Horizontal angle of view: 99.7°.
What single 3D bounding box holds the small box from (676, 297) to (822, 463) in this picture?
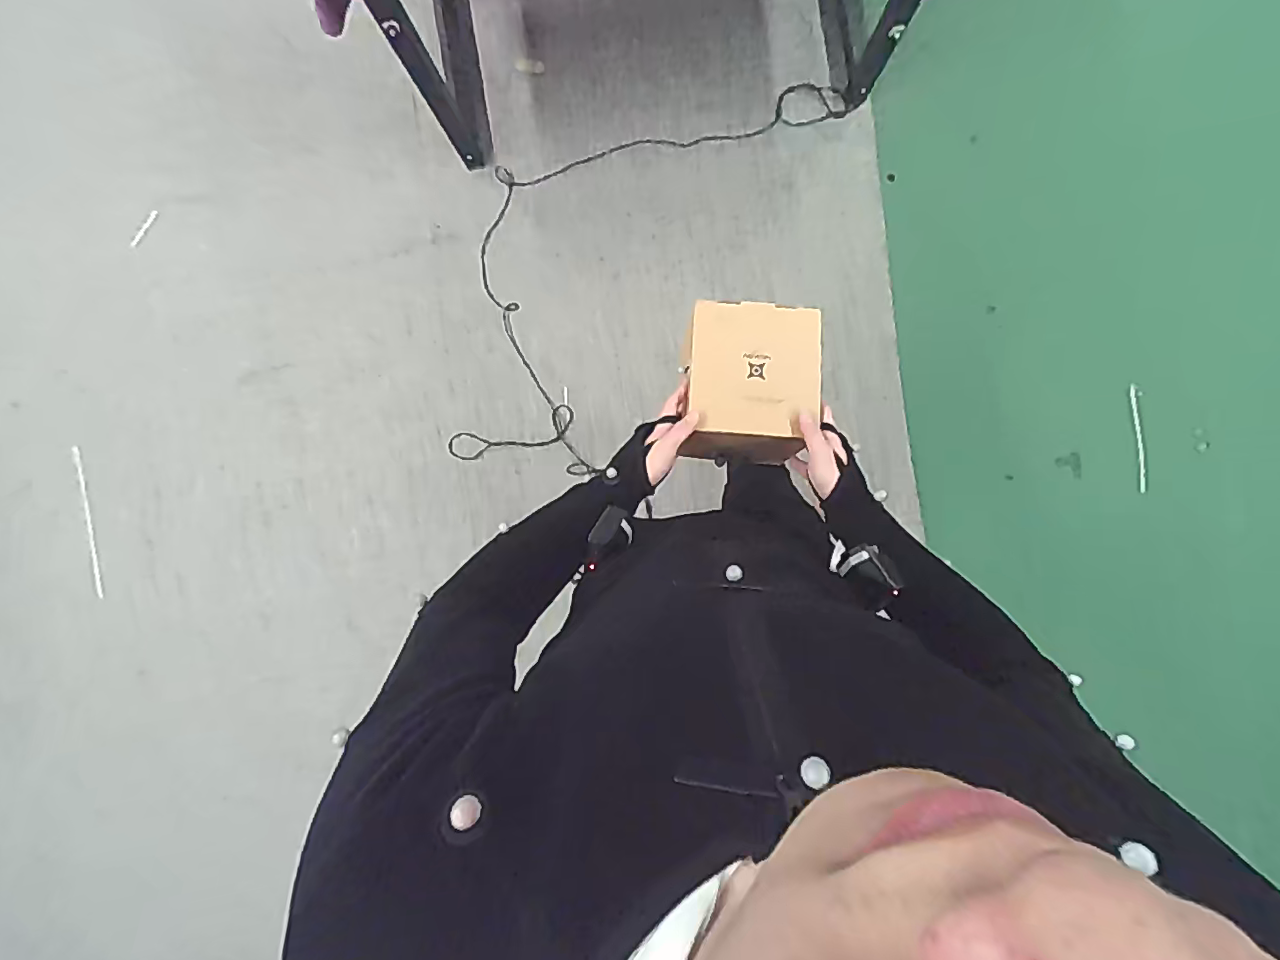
[{"bbox_3d":[0.142,-0.129,0.752,0.168,0.176,0.179,3,81,-2],"label":"small box"}]
